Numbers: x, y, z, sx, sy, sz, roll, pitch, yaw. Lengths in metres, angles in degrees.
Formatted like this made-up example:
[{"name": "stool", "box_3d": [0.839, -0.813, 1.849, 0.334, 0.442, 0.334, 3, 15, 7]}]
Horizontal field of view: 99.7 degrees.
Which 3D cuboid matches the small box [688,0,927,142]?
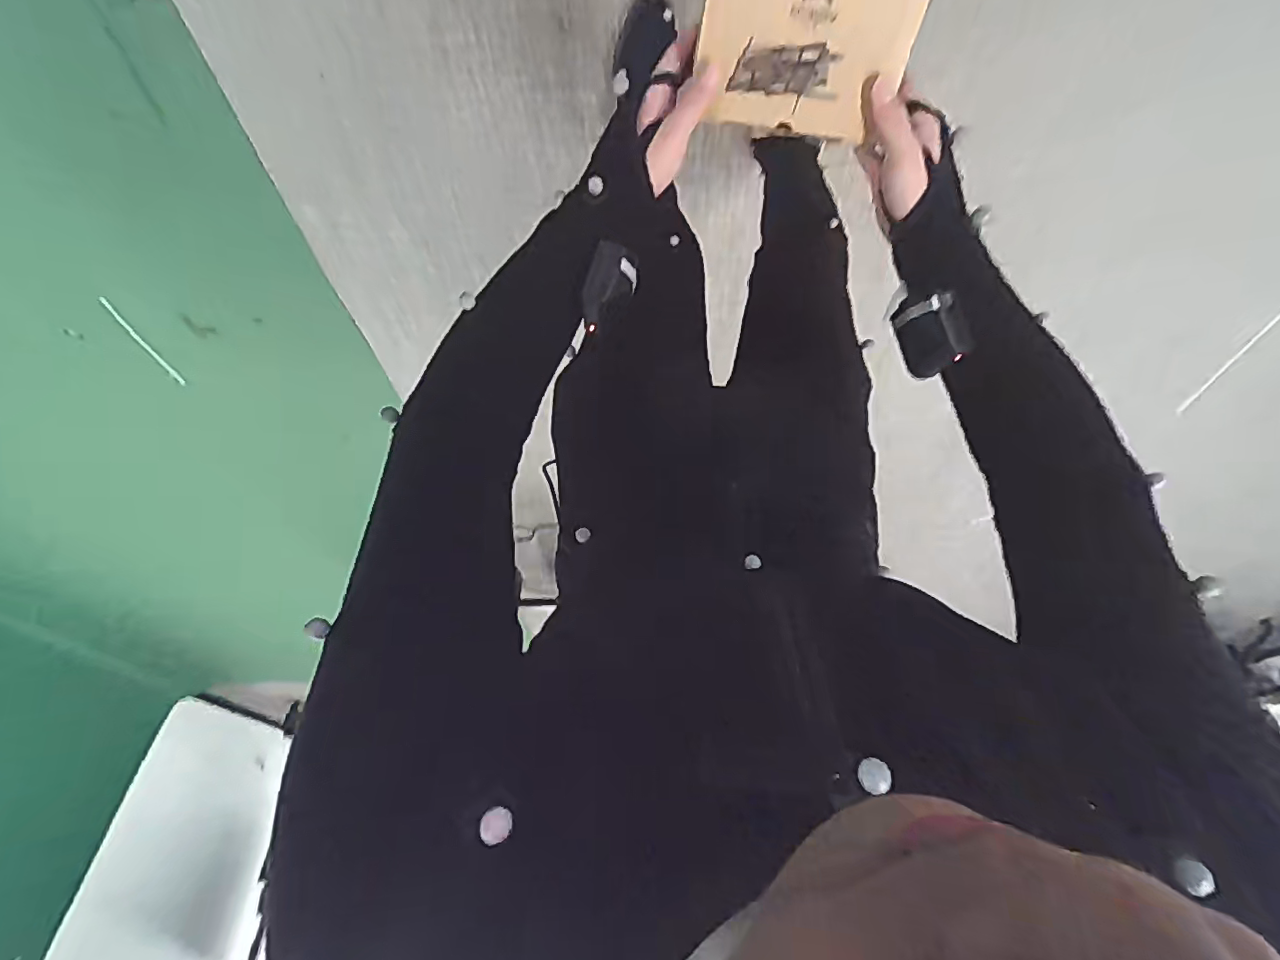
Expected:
[{"name": "small box", "box_3d": [0.139, -0.414, 0.463, 0.168, 0.176, 0.179, 8, 128, -2]}]
